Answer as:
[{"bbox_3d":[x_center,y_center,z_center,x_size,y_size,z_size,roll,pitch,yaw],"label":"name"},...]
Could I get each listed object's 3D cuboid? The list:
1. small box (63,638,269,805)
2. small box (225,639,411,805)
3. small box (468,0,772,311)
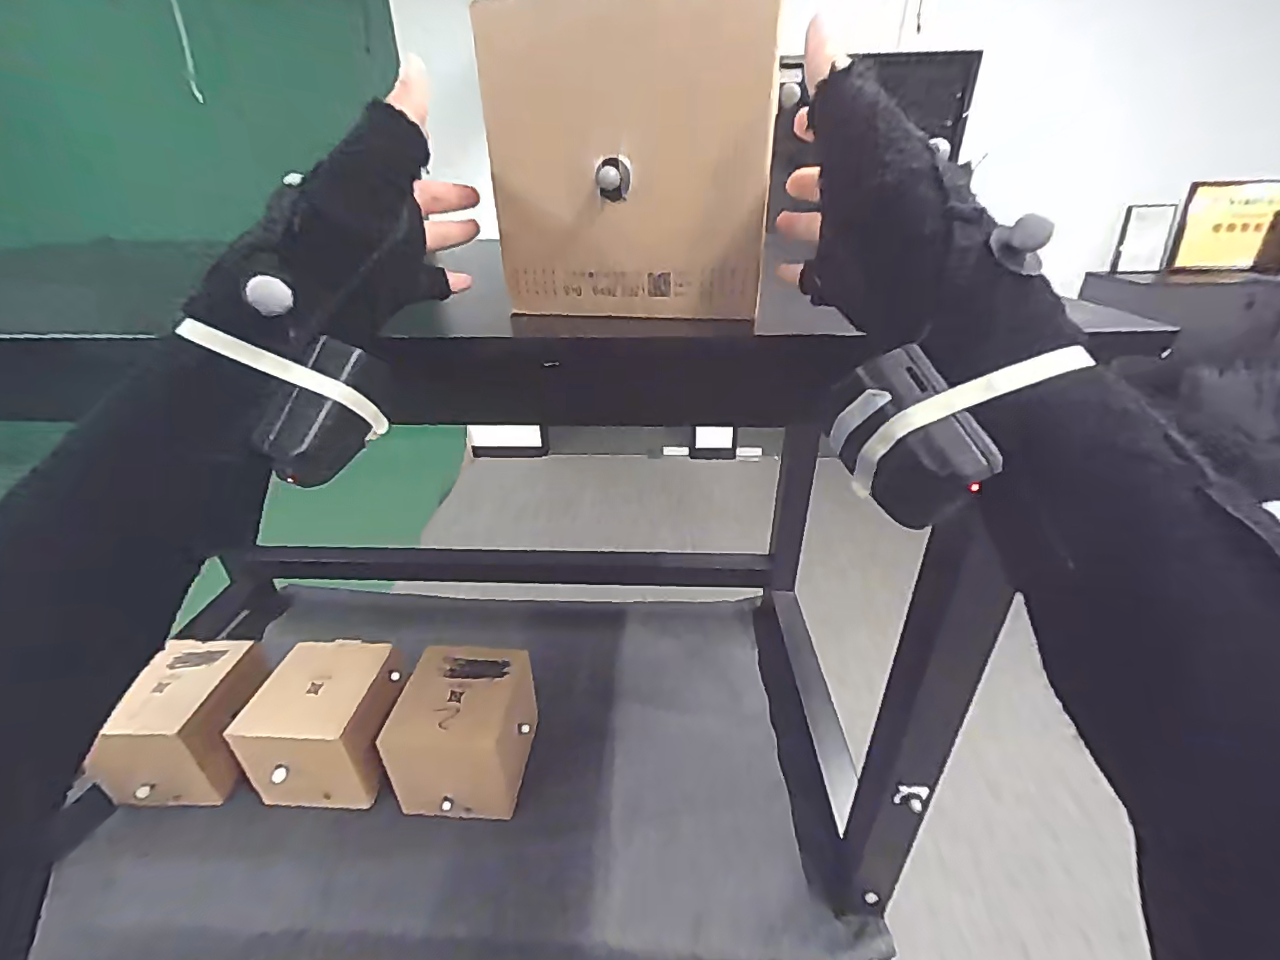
[{"bbox_3d":[-0.706,0.370,0.844,0.168,0.176,0.179,0,29,1],"label":"small box"},{"bbox_3d":[-0.479,0.374,0.840,0.168,0.176,0.179,1,28,3],"label":"small box"},{"bbox_3d":[0.004,-0.222,0.388,0.168,0.176,0.179,5,29,10],"label":"small box"}]
